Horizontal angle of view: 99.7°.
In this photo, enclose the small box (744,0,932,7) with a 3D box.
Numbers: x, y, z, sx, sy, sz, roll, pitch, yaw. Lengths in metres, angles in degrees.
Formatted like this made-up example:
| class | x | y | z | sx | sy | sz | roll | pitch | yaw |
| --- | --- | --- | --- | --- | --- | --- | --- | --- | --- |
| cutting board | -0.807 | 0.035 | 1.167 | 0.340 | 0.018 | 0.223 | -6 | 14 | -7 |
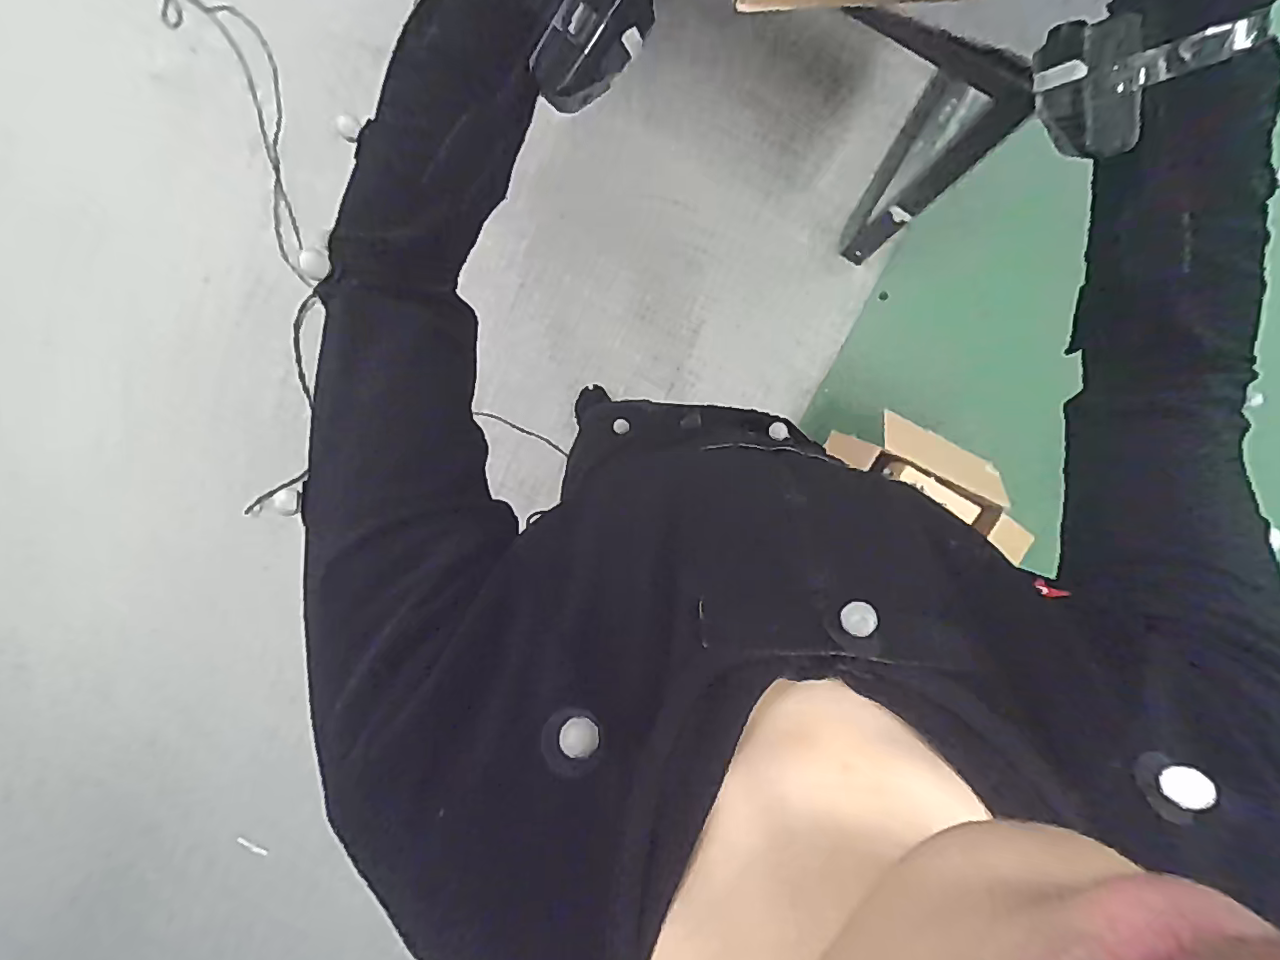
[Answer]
| class | x | y | z | sx | sy | sz | roll | pitch | yaw |
| --- | --- | --- | --- | --- | --- | --- | --- | --- | --- |
| small box | 0.133 | -0.410 | 0.287 | 0.168 | 0.176 | 0.179 | 3 | 95 | 8 |
